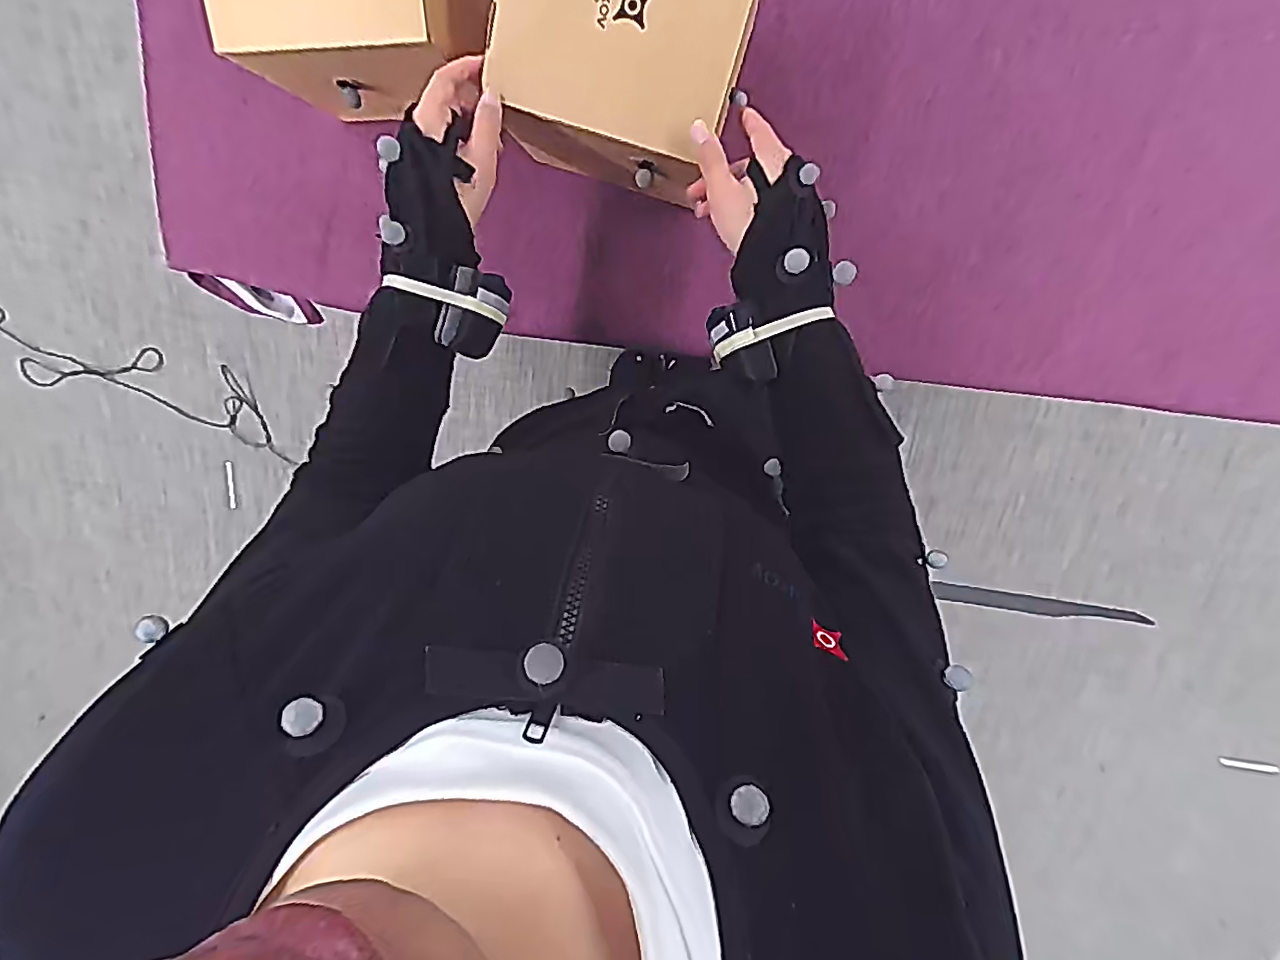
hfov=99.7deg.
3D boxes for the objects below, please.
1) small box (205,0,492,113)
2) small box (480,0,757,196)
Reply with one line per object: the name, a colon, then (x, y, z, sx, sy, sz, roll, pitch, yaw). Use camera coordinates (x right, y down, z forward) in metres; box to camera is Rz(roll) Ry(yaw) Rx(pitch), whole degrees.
small box: (-0.228, -0.425, 0.444, 0.168, 0.176, 0.179, 0, 107, 5)
small box: (-0.006, -0.355, 0.446, 0.179, 0.176, 0.168, 17, 107, 0)
